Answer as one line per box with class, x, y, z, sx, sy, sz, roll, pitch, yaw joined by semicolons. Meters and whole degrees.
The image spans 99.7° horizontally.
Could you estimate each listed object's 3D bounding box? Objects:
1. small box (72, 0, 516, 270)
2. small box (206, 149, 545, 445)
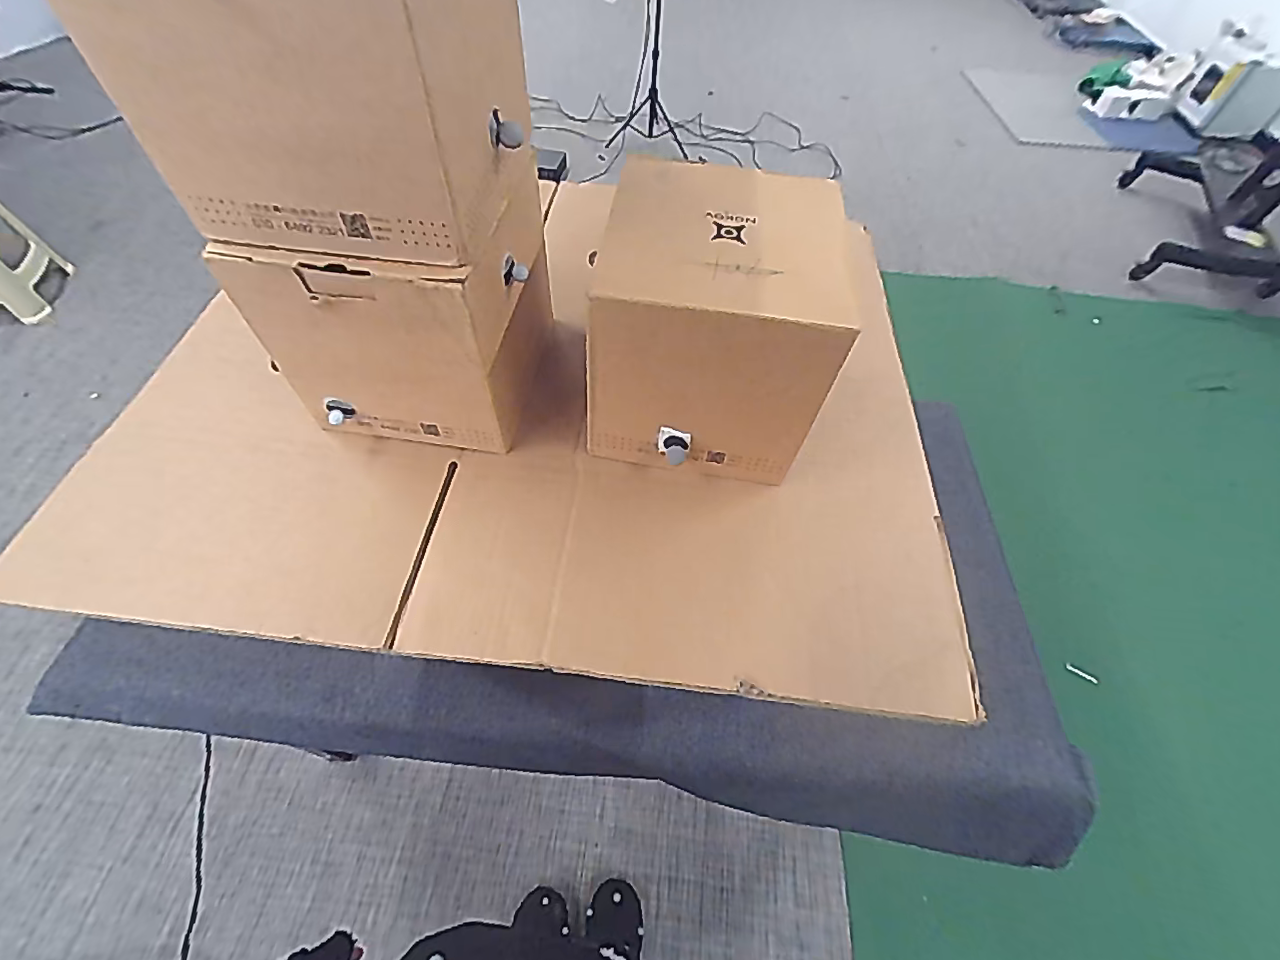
small box;-0.176;-0.251;0.313;0.168;0.176;0.179;6;55;1
small box;-0.180;-0.149;0.441;0.168;0.176;0.179;8;55;2
